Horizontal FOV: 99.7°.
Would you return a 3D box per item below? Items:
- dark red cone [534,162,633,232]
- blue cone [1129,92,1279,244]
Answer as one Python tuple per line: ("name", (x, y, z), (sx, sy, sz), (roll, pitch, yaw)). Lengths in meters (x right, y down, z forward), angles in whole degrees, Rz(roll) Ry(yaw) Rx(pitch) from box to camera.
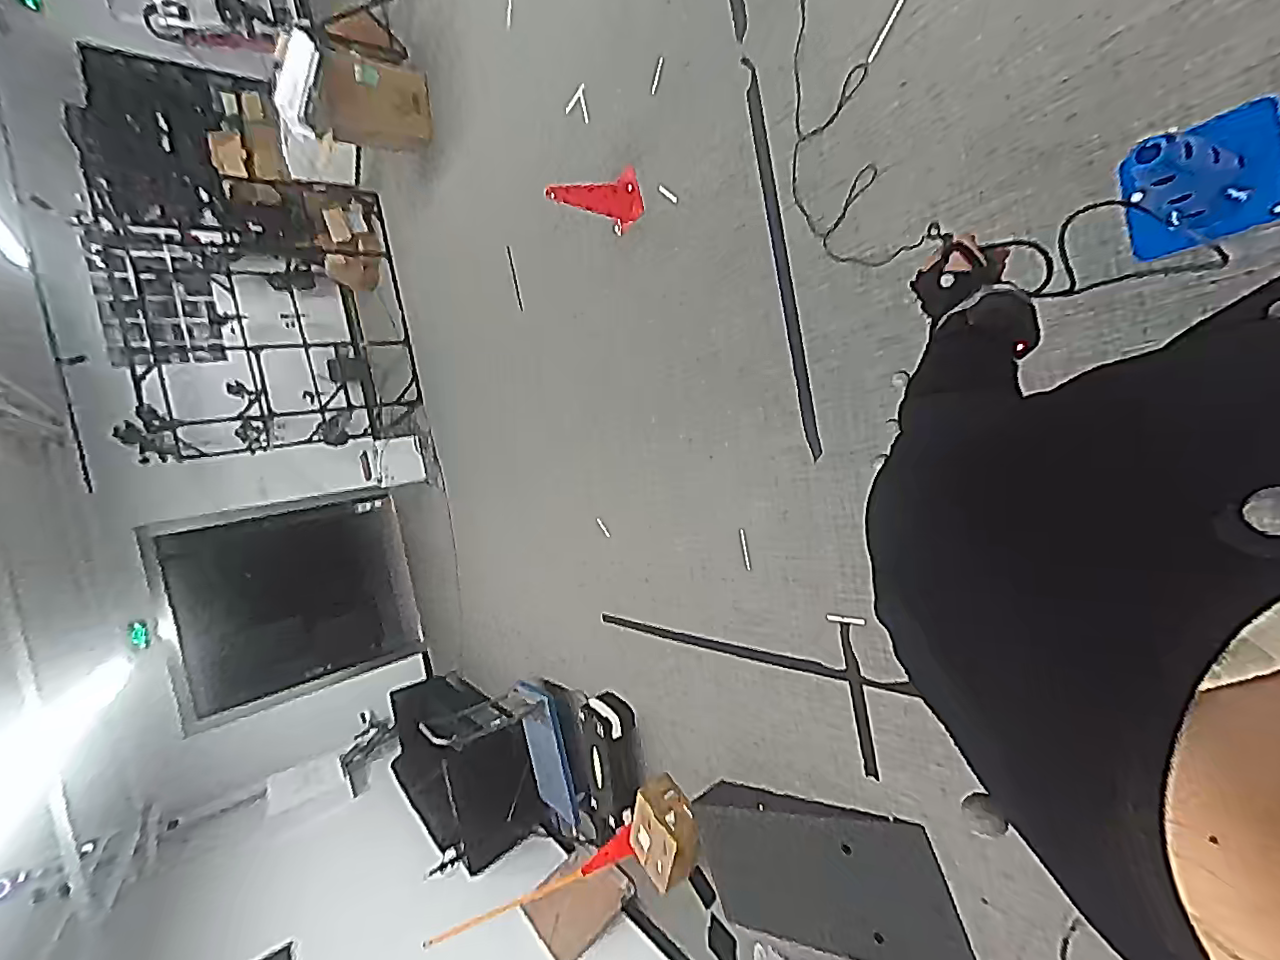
("dark red cone", (-0.226, -1.108, 2.087), (0.201, 0.394, 0.202), (-21, 83, 54))
("blue cone", (0.840, -0.492, 0.829), (0.192, 0.380, 0.193), (-7, 95, 54))
